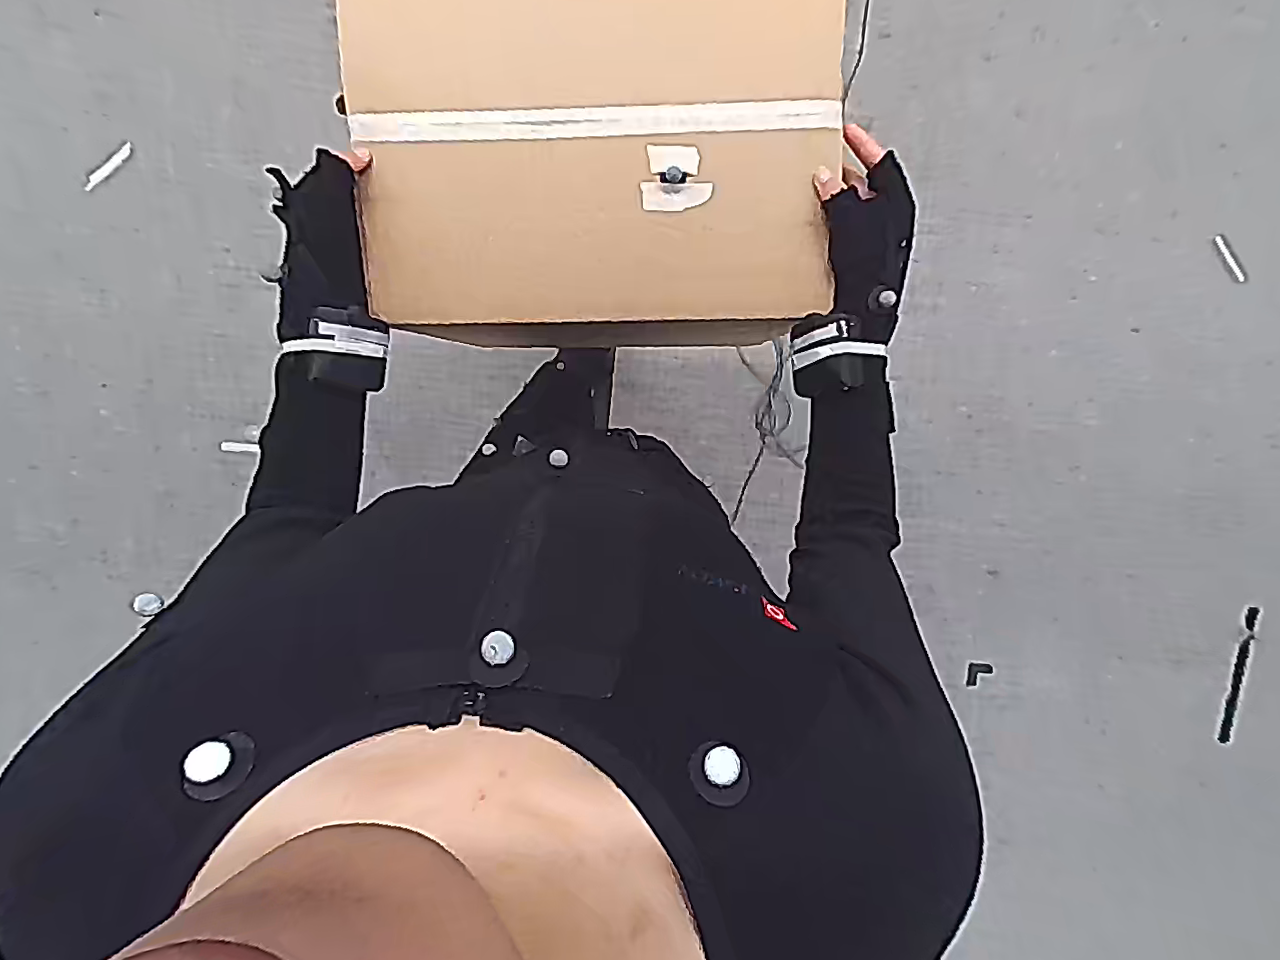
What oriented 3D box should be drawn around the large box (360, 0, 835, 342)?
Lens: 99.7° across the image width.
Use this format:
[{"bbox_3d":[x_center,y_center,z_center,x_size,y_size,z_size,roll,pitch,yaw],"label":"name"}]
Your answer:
[{"bbox_3d":[-0.034,-0.332,0.610,0.408,0.320,0.320,-1,101,1],"label":"large box"}]
